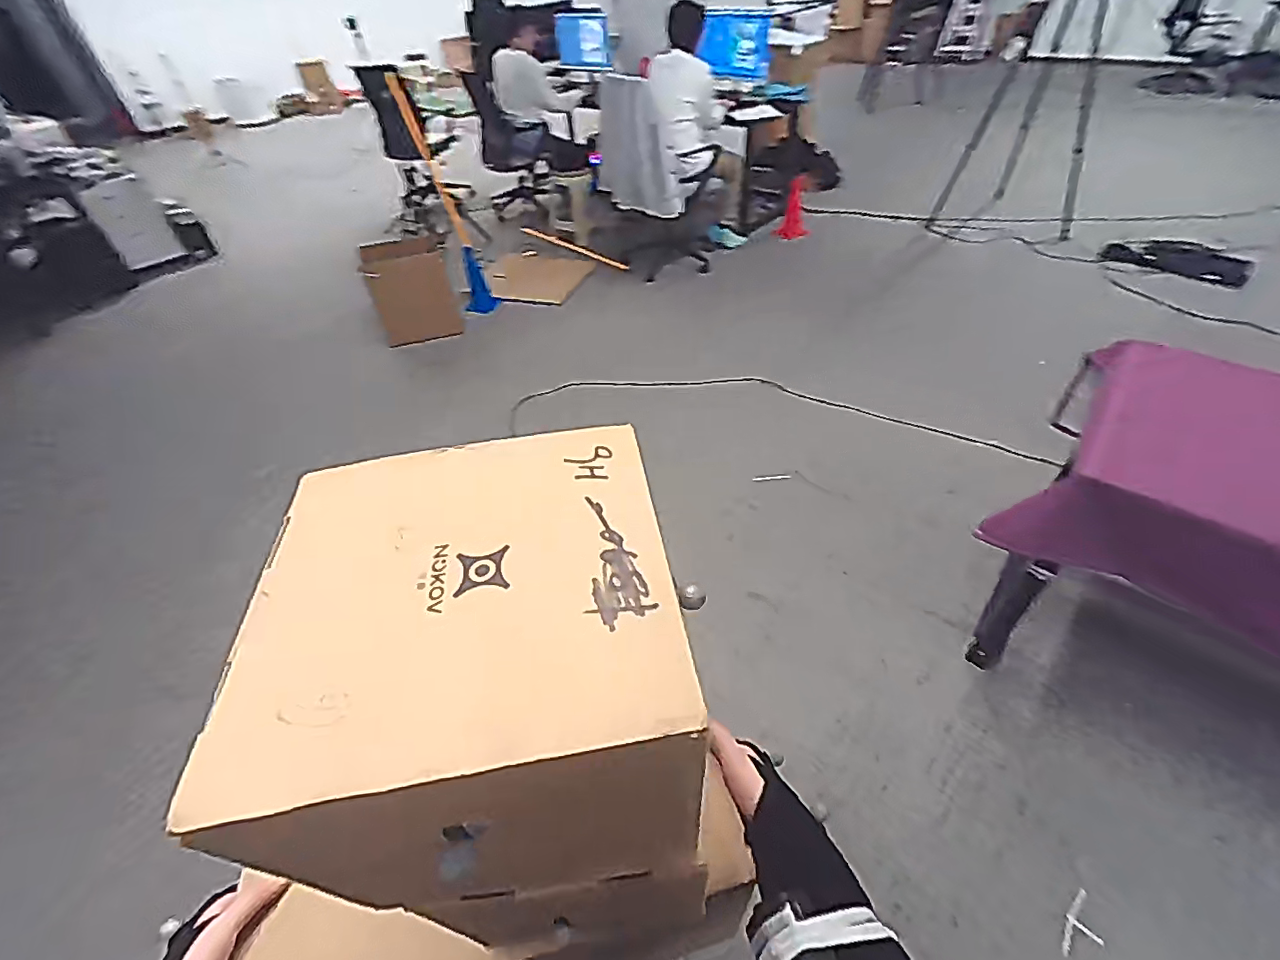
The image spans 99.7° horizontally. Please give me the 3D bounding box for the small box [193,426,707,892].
[{"bbox_3d":[-0.065,0.097,0.290,0.179,0.176,0.168,-9,46,-3],"label":"small box"}]

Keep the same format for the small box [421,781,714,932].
[{"bbox_3d":[-0.043,0.212,0.407,0.168,0.176,0.179,-6,46,-1],"label":"small box"}]
